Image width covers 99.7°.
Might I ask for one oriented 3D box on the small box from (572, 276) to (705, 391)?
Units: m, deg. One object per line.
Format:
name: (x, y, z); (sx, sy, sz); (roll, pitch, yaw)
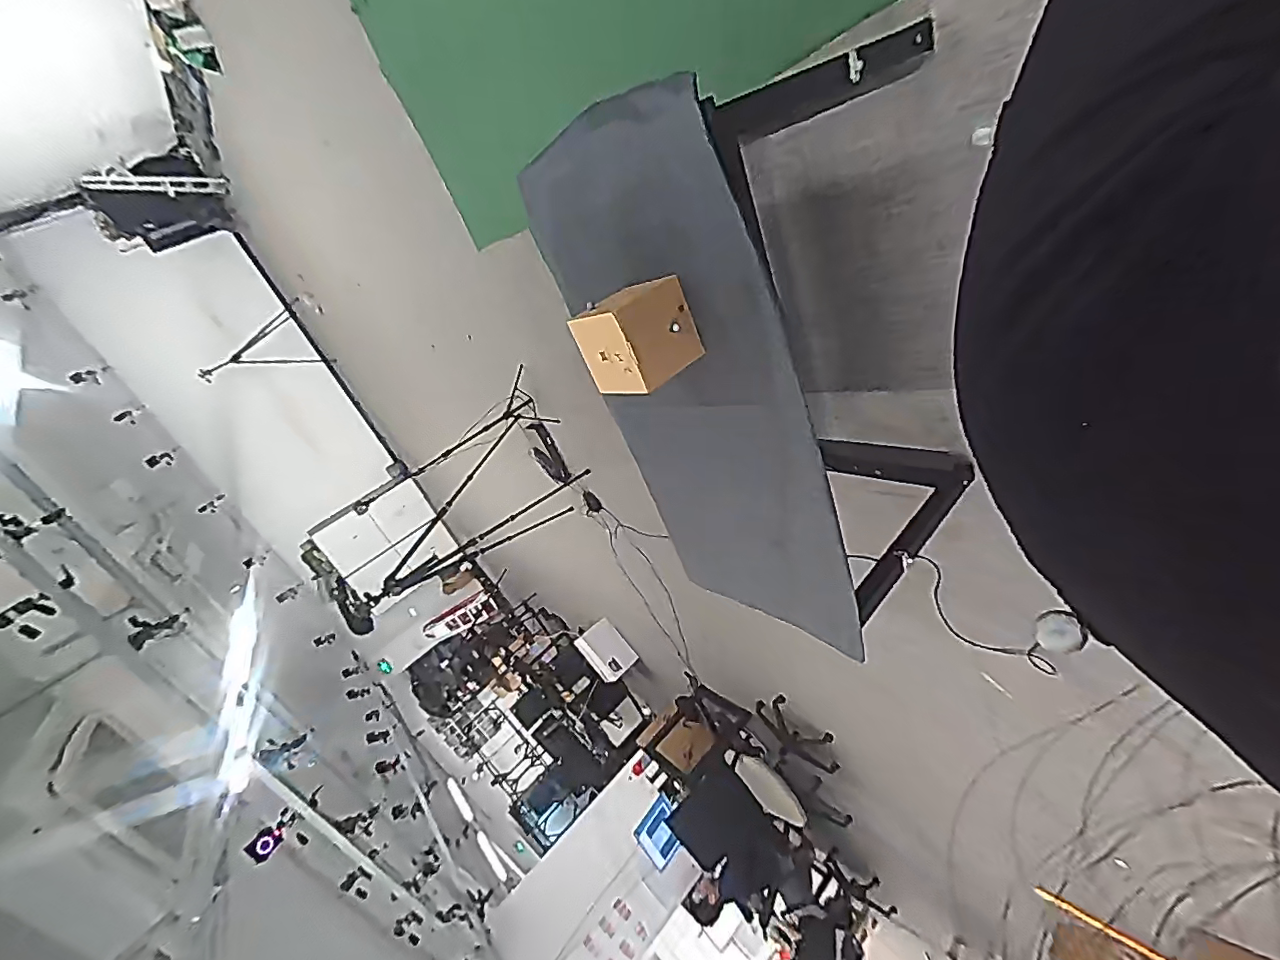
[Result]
small box: (0.000, -0.292, 1.091); (0.179, 0.176, 0.168); (13, 135, 52)
